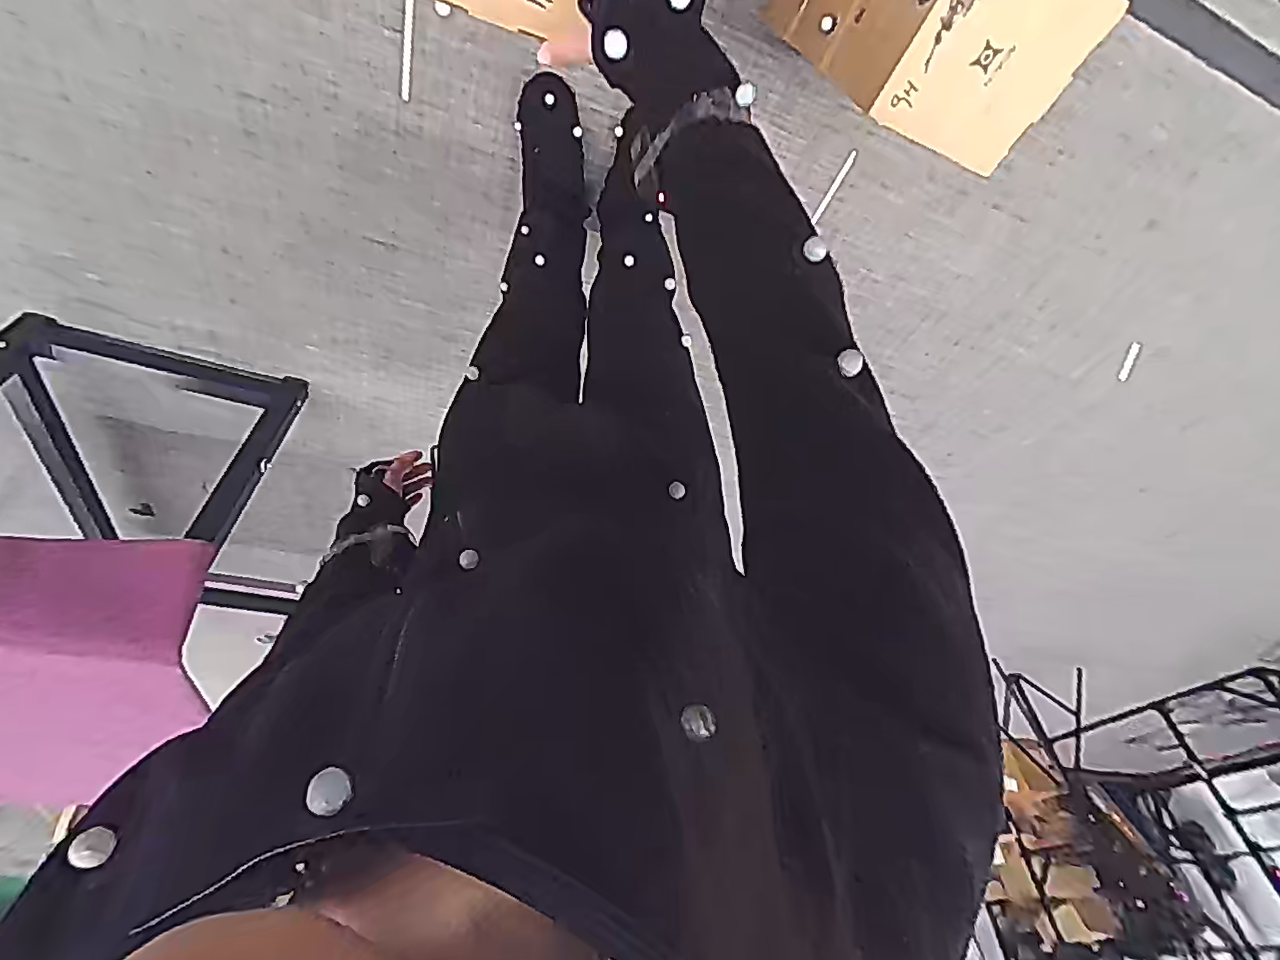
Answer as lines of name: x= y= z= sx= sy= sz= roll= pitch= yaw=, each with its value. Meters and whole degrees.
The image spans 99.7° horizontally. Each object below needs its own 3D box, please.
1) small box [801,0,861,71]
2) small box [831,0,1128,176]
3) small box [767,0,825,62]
small box: x=0.326 y=-0.603 z=0.675 sx=0.168 sy=0.176 sz=0.179 roll=11 pitch=138 yaw=-18
small box: x=0.341 y=-0.471 z=0.578 sx=0.179 sy=0.176 sz=0.168 roll=12 pitch=138 yaw=-20
small box: x=0.314 y=-0.718 z=0.790 sx=0.179 sy=0.176 sz=0.168 roll=15 pitch=136 yaw=-21
